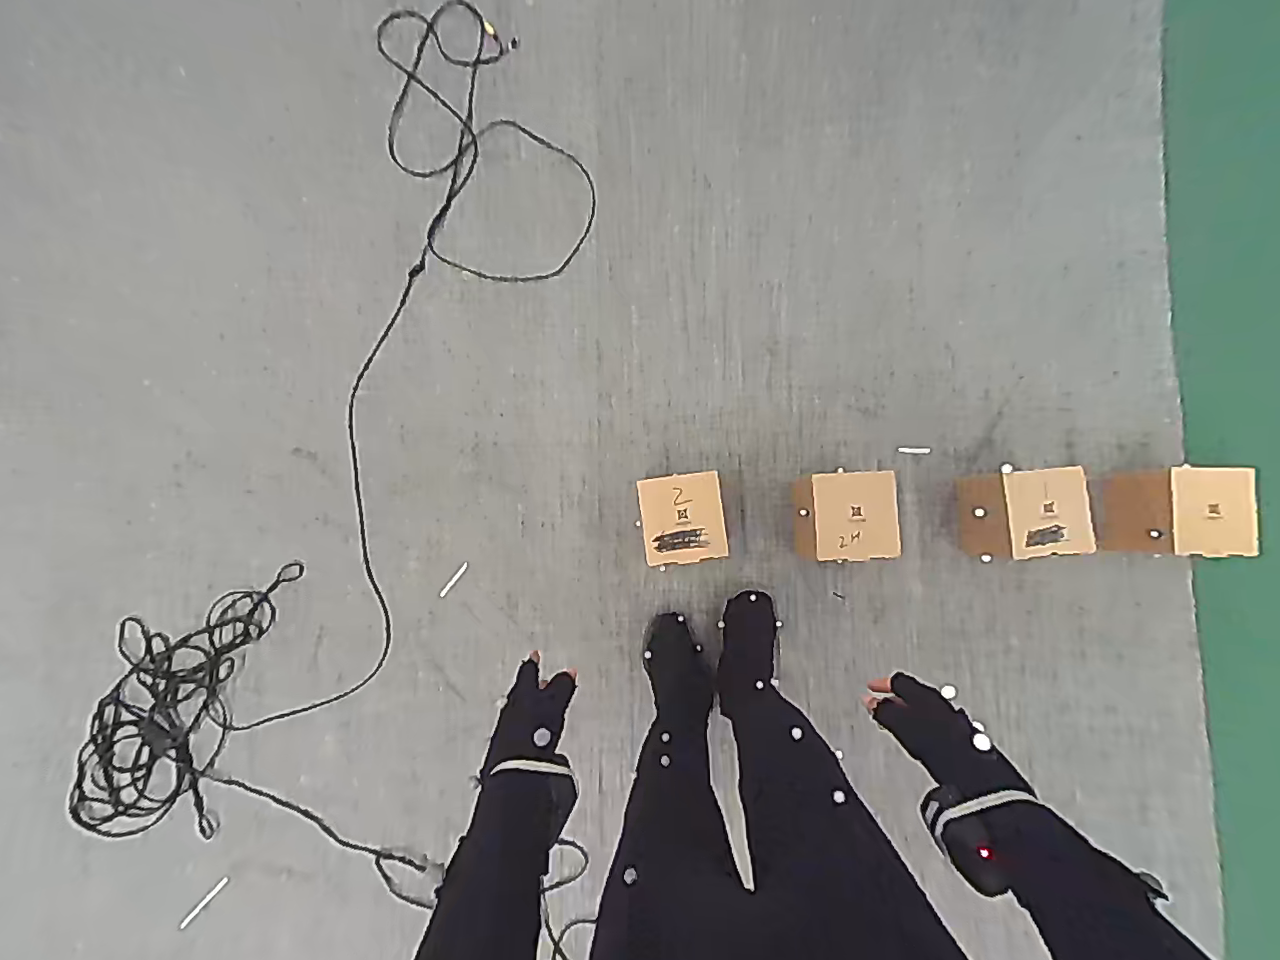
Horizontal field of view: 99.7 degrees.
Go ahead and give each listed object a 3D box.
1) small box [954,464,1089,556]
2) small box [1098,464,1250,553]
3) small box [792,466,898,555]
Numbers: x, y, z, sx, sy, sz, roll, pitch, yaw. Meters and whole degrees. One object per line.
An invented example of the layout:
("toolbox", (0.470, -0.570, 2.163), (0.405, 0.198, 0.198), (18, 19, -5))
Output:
("small box", (0.805, 0.063, 1.158), (0.168, 0.176, 0.179), (-5, 86, 0))
("small box", (1.129, 0.062, 1.157), (0.168, 0.176, 0.179), (1, 87, 1))
("small box", (0.430, 0.066, 1.158), (0.168, 0.176, 0.179), (-2, 87, 2))
